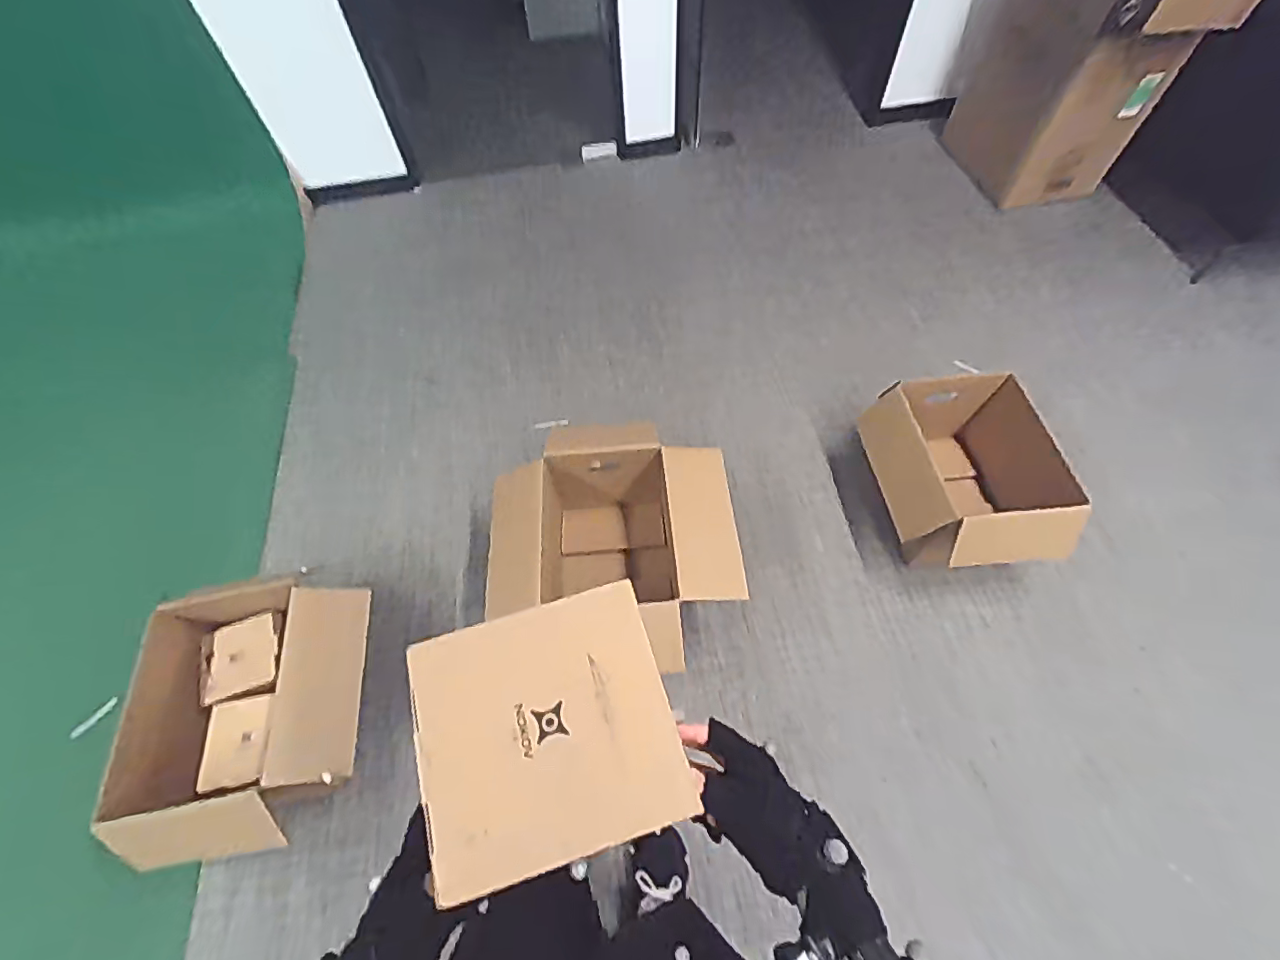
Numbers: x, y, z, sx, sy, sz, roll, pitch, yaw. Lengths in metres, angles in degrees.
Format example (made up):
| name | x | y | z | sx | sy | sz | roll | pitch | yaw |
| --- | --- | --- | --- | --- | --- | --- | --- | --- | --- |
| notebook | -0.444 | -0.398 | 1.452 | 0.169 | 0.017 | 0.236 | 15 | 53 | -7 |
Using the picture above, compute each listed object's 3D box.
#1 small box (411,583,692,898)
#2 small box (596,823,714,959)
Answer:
| name | x | y | z | sx | sy | sz | roll | pitch | yaw |
| --- | --- | --- | --- | --- | --- | --- | --- | --- | --- |
| small box | -0.066 | 0.208 | 0.452 | 0.179 | 0.176 | 0.168 | -16 | 64 | -7 |
| small box | 0.032 | 0.840 | 1.092 | 0.179 | 0.176 | 0.168 | -25 | 32 | -37 |
